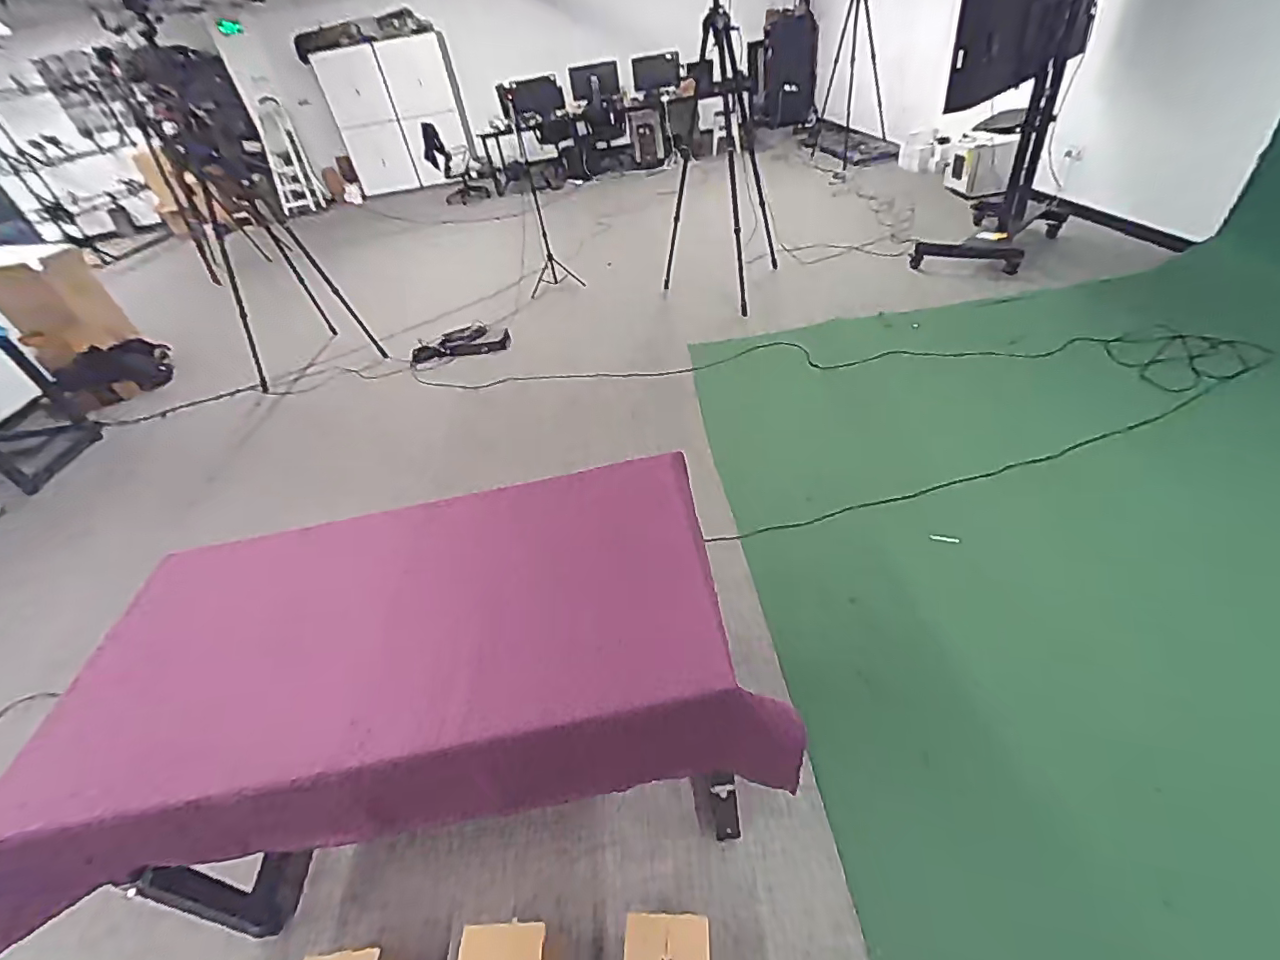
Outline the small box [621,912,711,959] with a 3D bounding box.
[{"bbox_3d":[0.054,0.985,1.063,0.168,0.176,0.179,-3,39,9],"label":"small box"}]
